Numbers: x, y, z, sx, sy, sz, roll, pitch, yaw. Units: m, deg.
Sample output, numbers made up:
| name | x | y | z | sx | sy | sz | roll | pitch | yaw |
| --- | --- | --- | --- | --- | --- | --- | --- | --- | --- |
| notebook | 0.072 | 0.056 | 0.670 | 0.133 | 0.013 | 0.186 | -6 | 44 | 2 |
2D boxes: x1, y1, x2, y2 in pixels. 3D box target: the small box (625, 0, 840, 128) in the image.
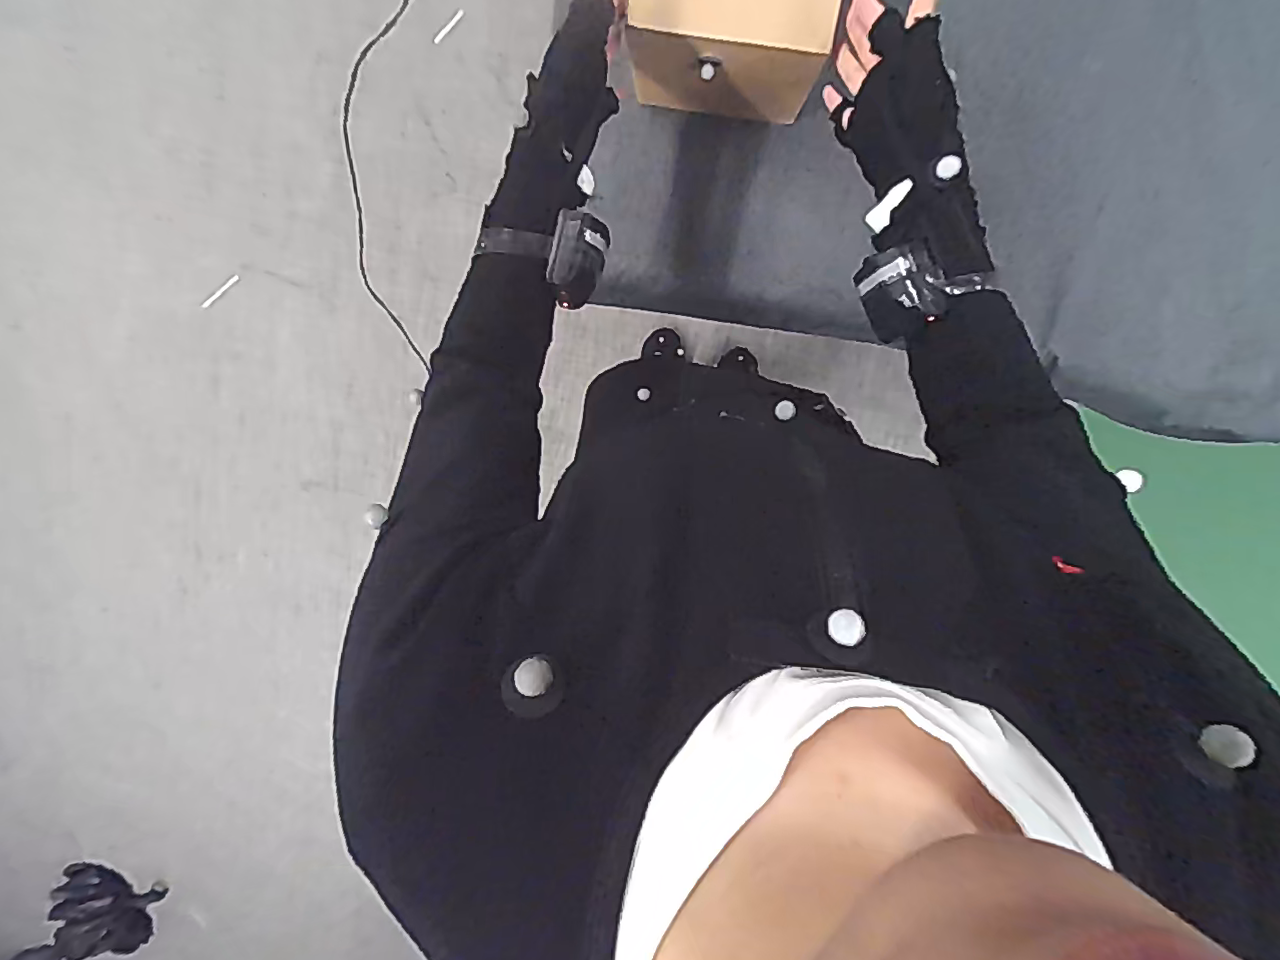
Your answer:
| name | x | y | z | sx | sy | sz | roll | pitch | yaw |
| --- | --- | --- | --- | --- | --- | --- | --- | --- | --- |
| small box | 0.090 | -0.460 | 0.512 | 0.179 | 0.176 | 0.168 | 9 | 107 | 1 |
